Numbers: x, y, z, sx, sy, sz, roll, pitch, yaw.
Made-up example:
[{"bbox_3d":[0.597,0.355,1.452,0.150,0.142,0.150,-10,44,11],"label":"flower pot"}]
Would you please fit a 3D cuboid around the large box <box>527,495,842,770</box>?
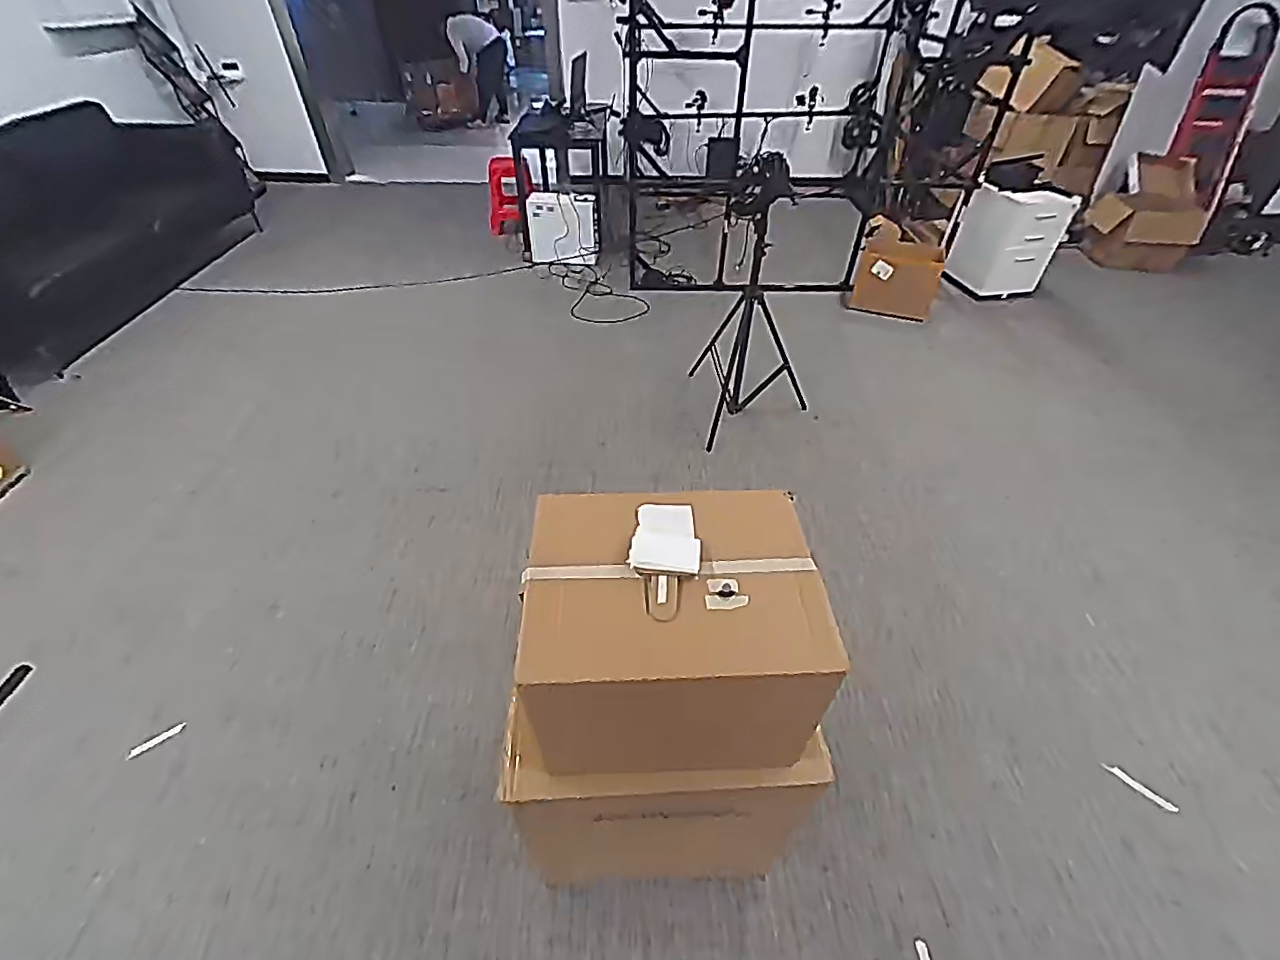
[{"bbox_3d":[0.045,0.243,0.875,0.408,0.320,0.320,-1,44,-3],"label":"large box"}]
